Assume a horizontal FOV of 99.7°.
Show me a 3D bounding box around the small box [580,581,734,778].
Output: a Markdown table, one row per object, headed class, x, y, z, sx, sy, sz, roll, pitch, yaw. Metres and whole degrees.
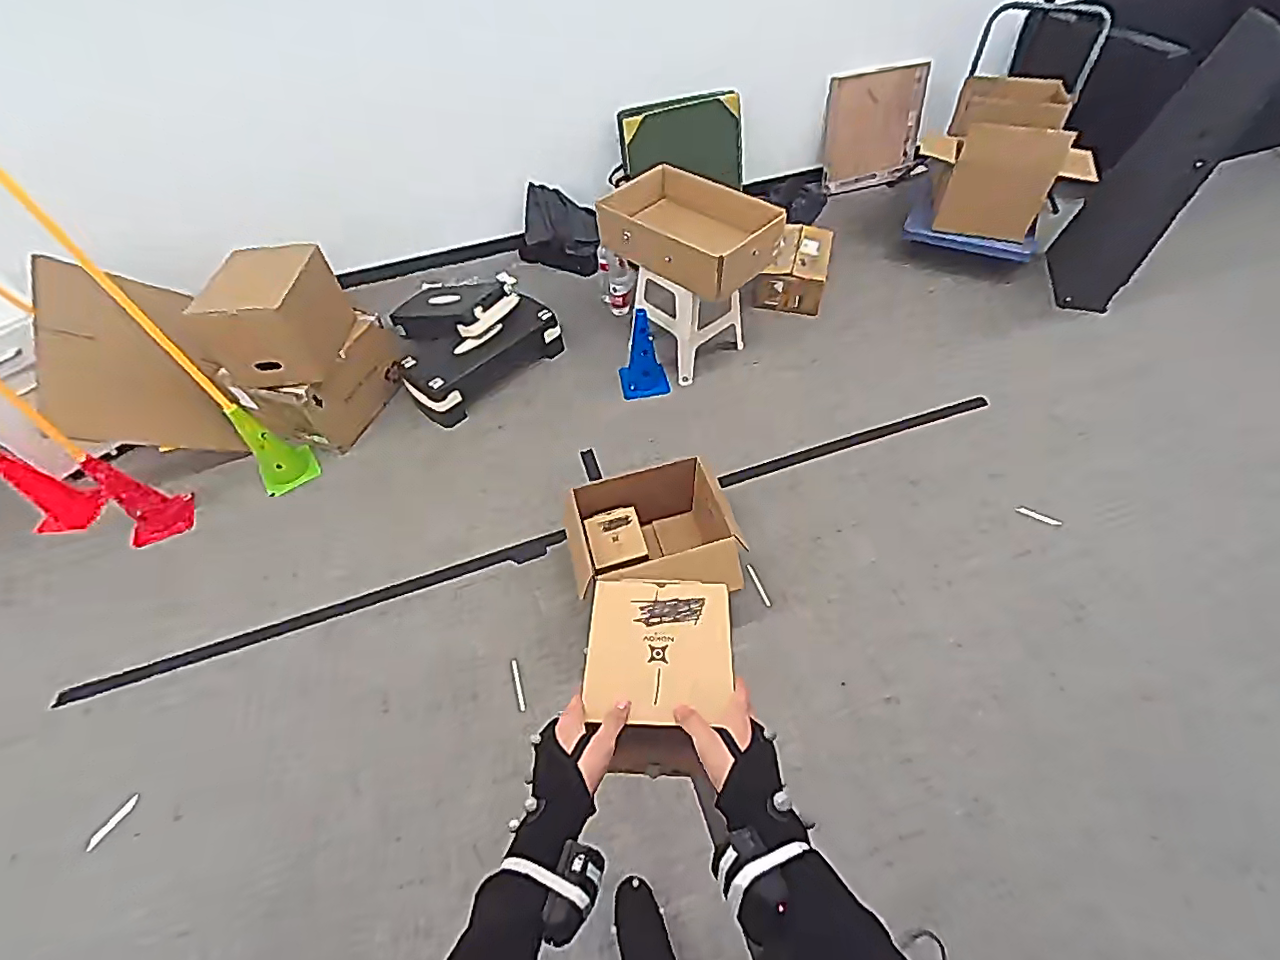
| class | x | y | z | sx | sy | sz | roll | pitch | yaw |
| --- | --- | --- | --- | --- | --- | --- | --- | --- | --- |
| small box | 0.025 | 0.248 | 0.678 | 0.168 | 0.176 | 0.179 | 1 | 45 | 4 |
